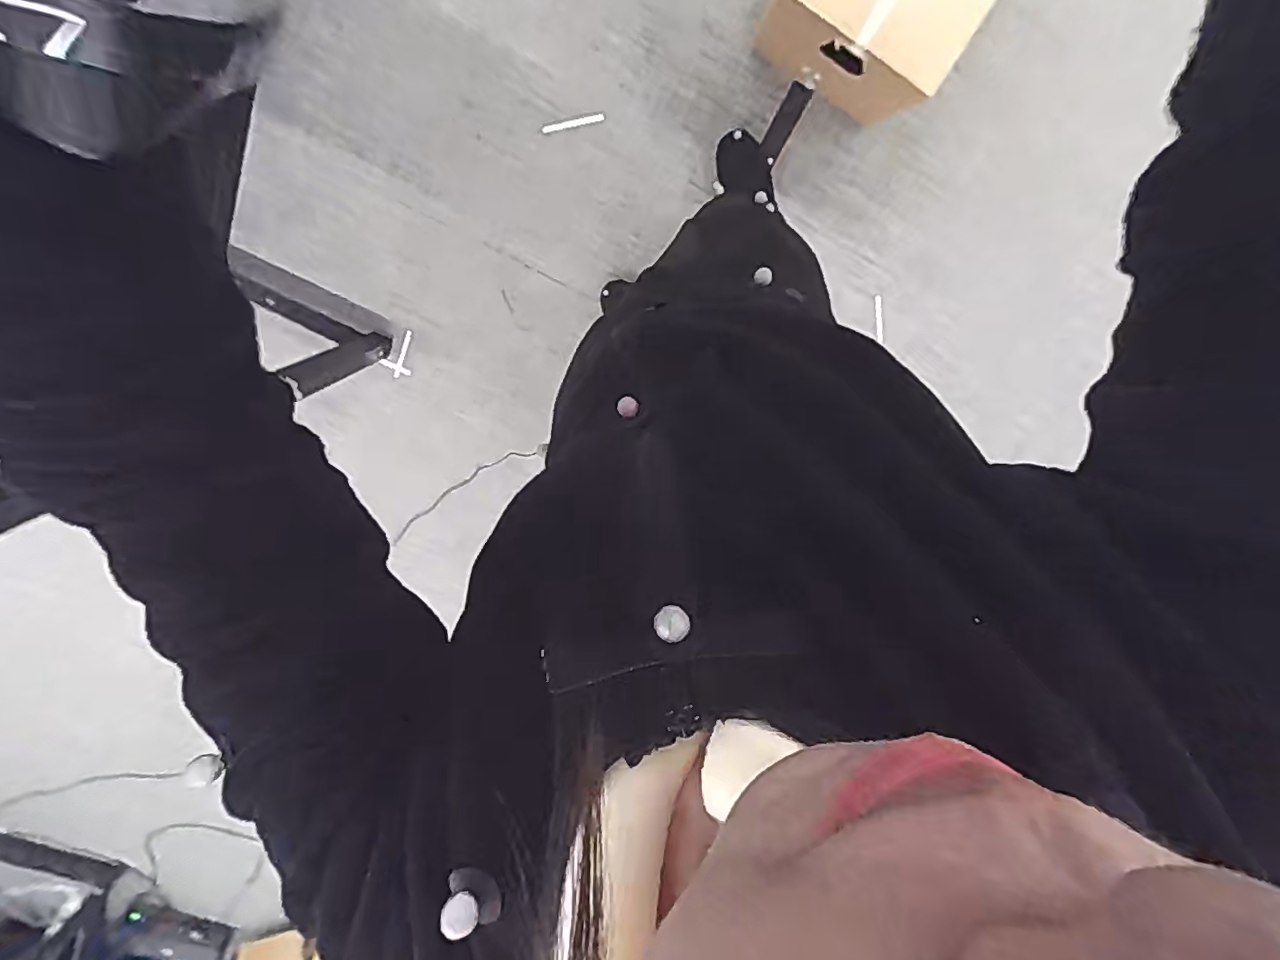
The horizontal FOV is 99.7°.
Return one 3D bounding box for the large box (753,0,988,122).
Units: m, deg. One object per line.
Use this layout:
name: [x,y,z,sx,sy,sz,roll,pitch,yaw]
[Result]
large box: [0.449,-0.939,0.946,0.320,0.320,0.408,26,112,-11]
